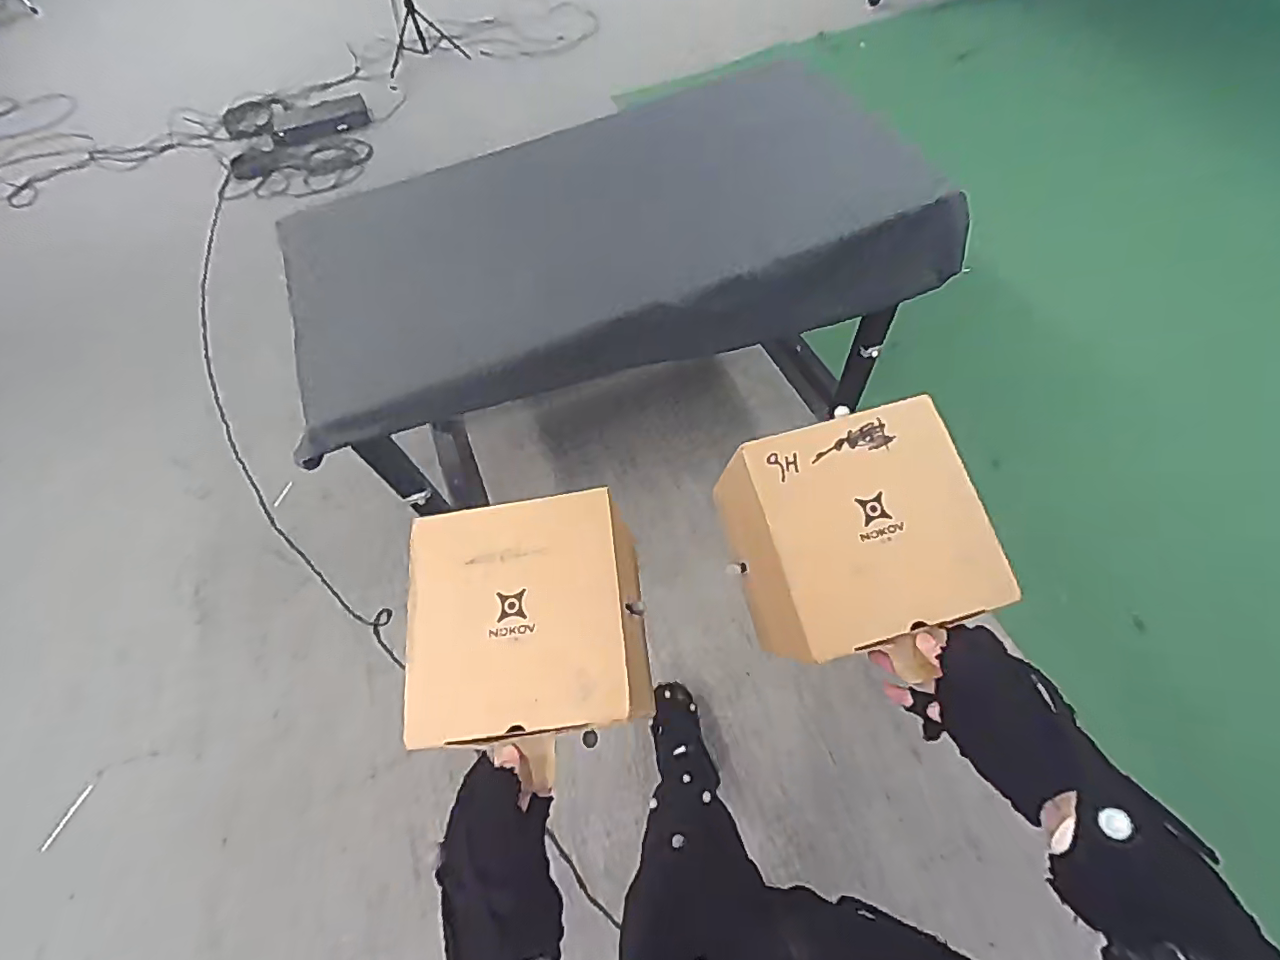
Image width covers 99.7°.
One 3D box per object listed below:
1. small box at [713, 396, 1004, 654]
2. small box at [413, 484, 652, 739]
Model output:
[{"bbox_3d":[0.179,0.048,0.504,0.168,0.176,0.179,-15,76,-6],"label":"small box"},{"bbox_3d":[-0.085,0.125,0.490,0.168,0.176,0.179,-9,66,2],"label":"small box"}]
